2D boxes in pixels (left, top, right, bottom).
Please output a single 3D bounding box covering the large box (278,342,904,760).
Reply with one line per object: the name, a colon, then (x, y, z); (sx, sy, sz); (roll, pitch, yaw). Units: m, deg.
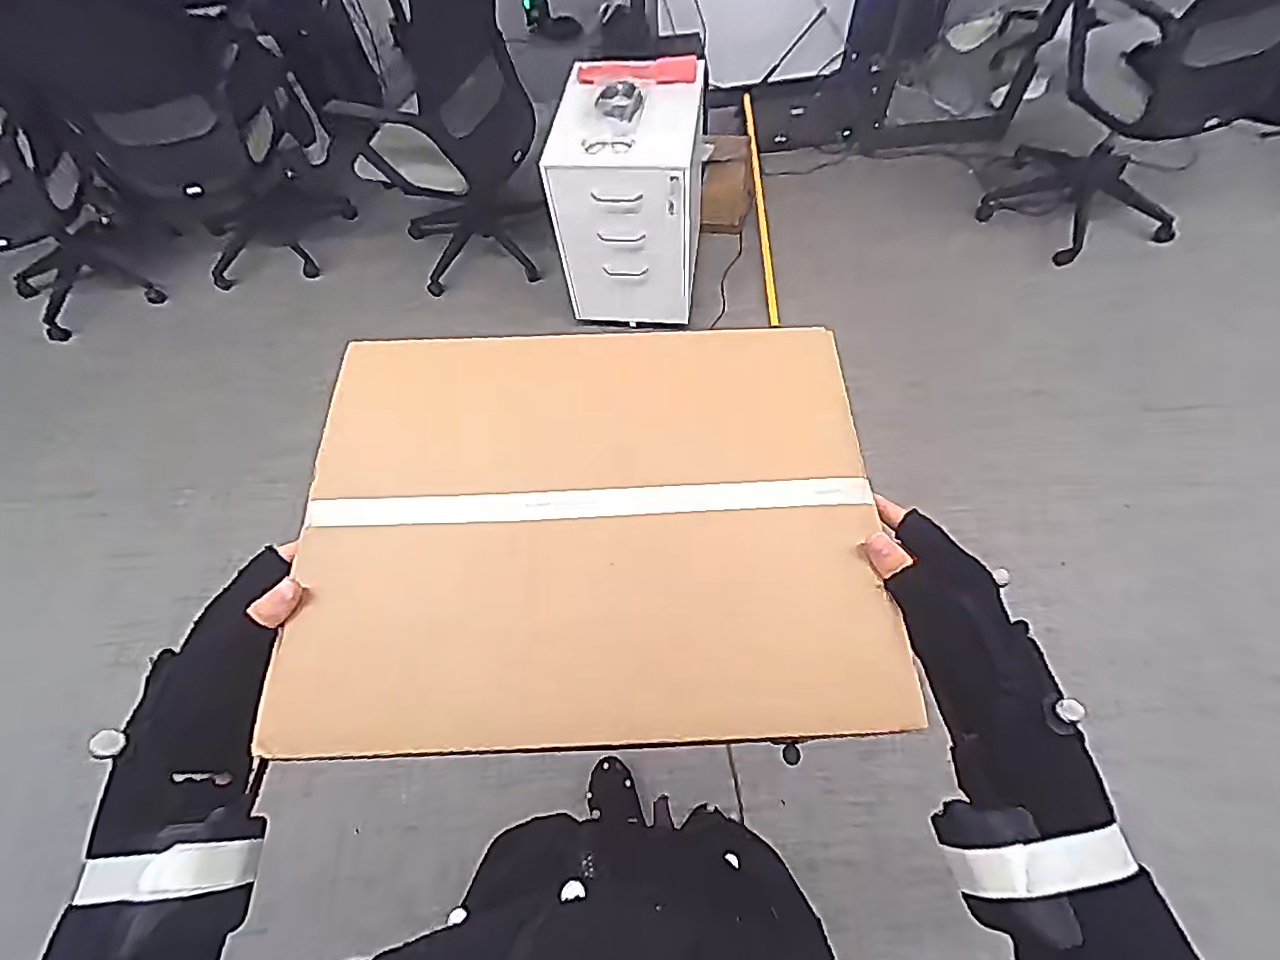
large box: (-0.034, 0.088, 0.535); (0.408, 0.320, 0.320); (-2, 64, -1)
